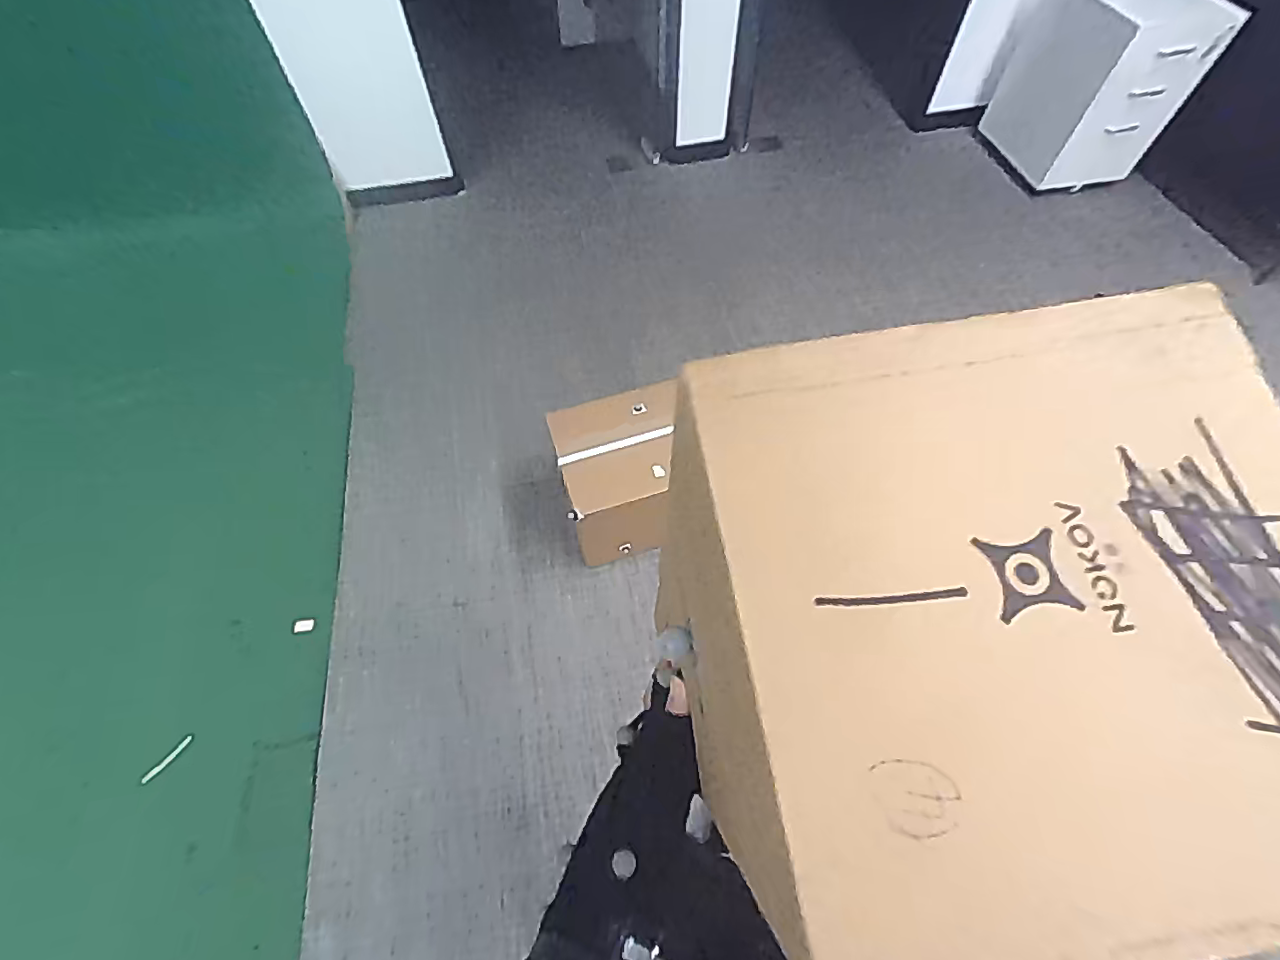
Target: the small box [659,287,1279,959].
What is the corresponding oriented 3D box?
[{"bbox_3d":[0.111,0.054,0.219,0.179,0.176,0.168,-11,69,-5],"label":"small box"}]
